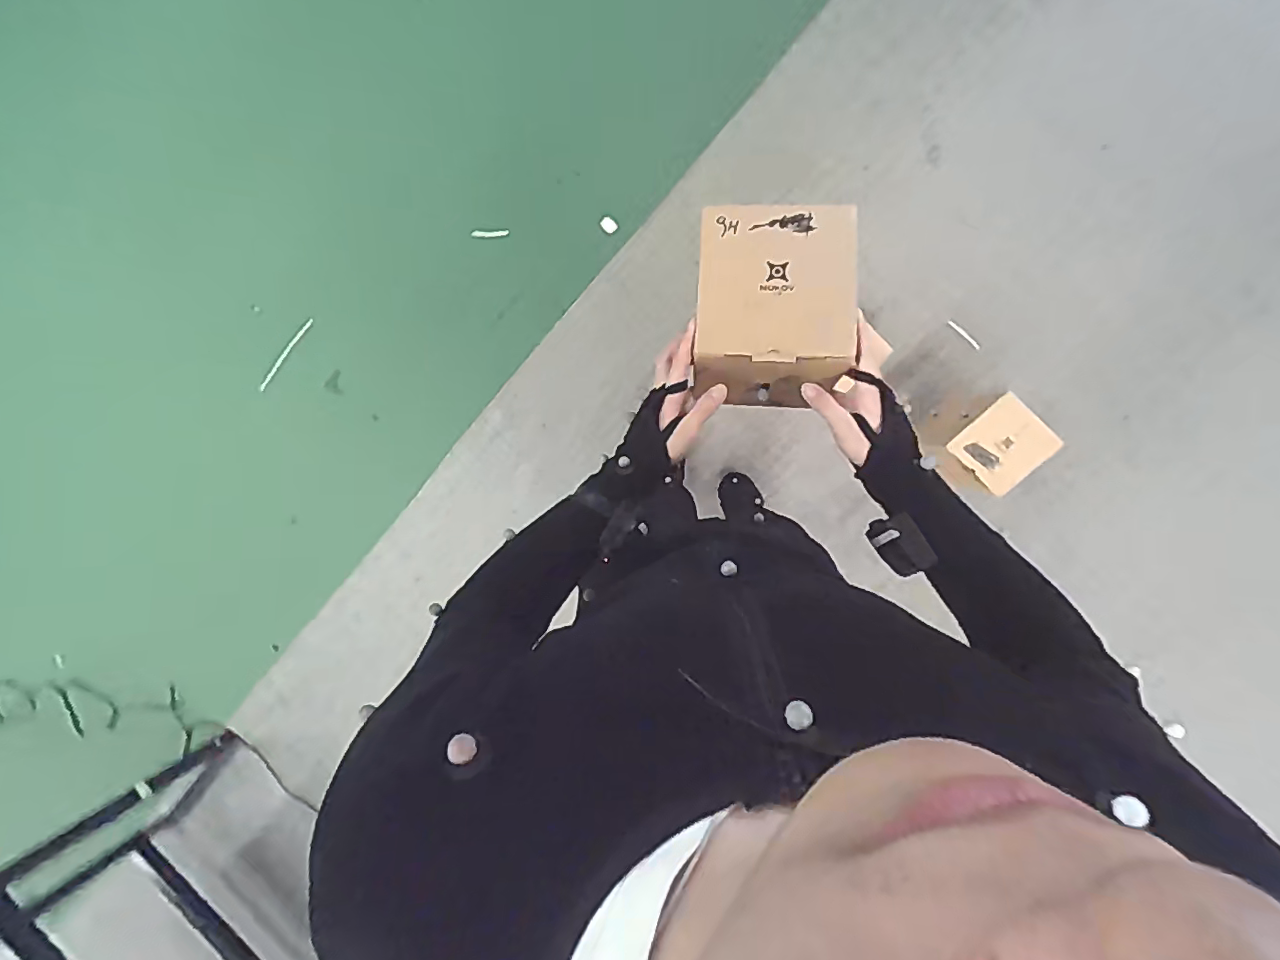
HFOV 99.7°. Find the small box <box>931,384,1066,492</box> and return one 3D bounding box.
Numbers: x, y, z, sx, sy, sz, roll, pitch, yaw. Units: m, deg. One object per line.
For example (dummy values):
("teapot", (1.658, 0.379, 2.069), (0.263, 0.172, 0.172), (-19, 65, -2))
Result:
("small box", (0.805, -0.096, 1.245), (0.179, 0.176, 0.168), (-44, 87, 11))

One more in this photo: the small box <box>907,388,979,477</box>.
("small box", (0.835, -0.117, 1.405), (0.179, 0.176, 0.168), (45, 102, 3))

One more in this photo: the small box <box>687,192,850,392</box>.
("small box", (0.144, -0.209, 0.646), (0.168, 0.176, 0.179), (2, 82, 6))
